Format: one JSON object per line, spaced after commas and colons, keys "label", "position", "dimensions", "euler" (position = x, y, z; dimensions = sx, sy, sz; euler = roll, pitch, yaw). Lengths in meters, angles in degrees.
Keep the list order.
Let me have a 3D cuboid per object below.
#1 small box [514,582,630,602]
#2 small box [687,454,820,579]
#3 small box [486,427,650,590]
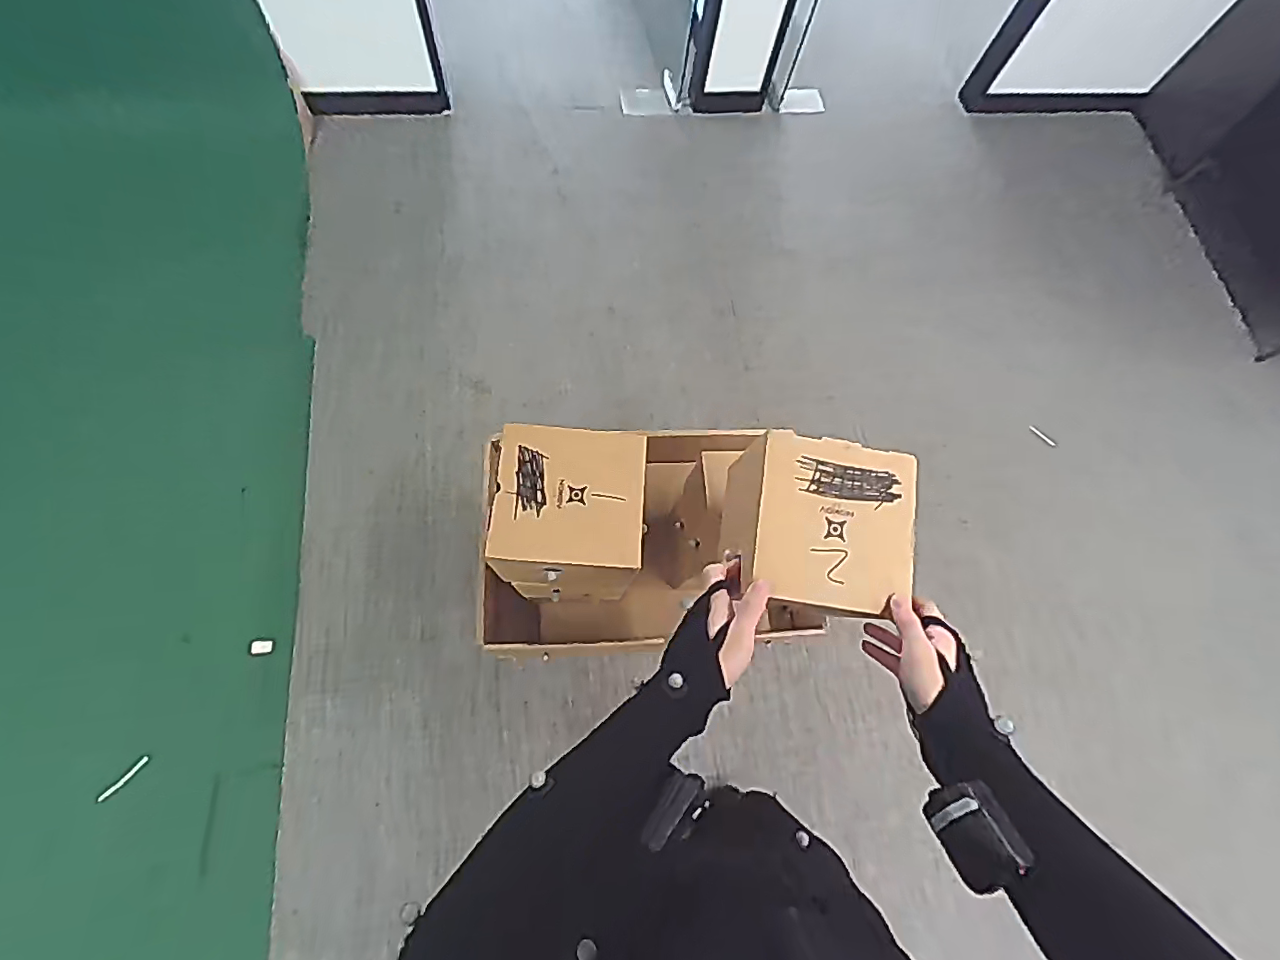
{"label": "small box", "position": [-0.100, 0.096, 0.855], "dimensions": [0.168, 0.176, 0.179], "euler": [2, 70, -5]}
{"label": "small box", "position": [0.175, 0.068, 0.891], "dimensions": [0.168, 0.176, 0.179], "euler": [0, 71, -7]}
{"label": "small box", "position": [-0.086, 0.046, 0.699], "dimensions": [0.179, 0.176, 0.168], "euler": [5, 71, -5]}
